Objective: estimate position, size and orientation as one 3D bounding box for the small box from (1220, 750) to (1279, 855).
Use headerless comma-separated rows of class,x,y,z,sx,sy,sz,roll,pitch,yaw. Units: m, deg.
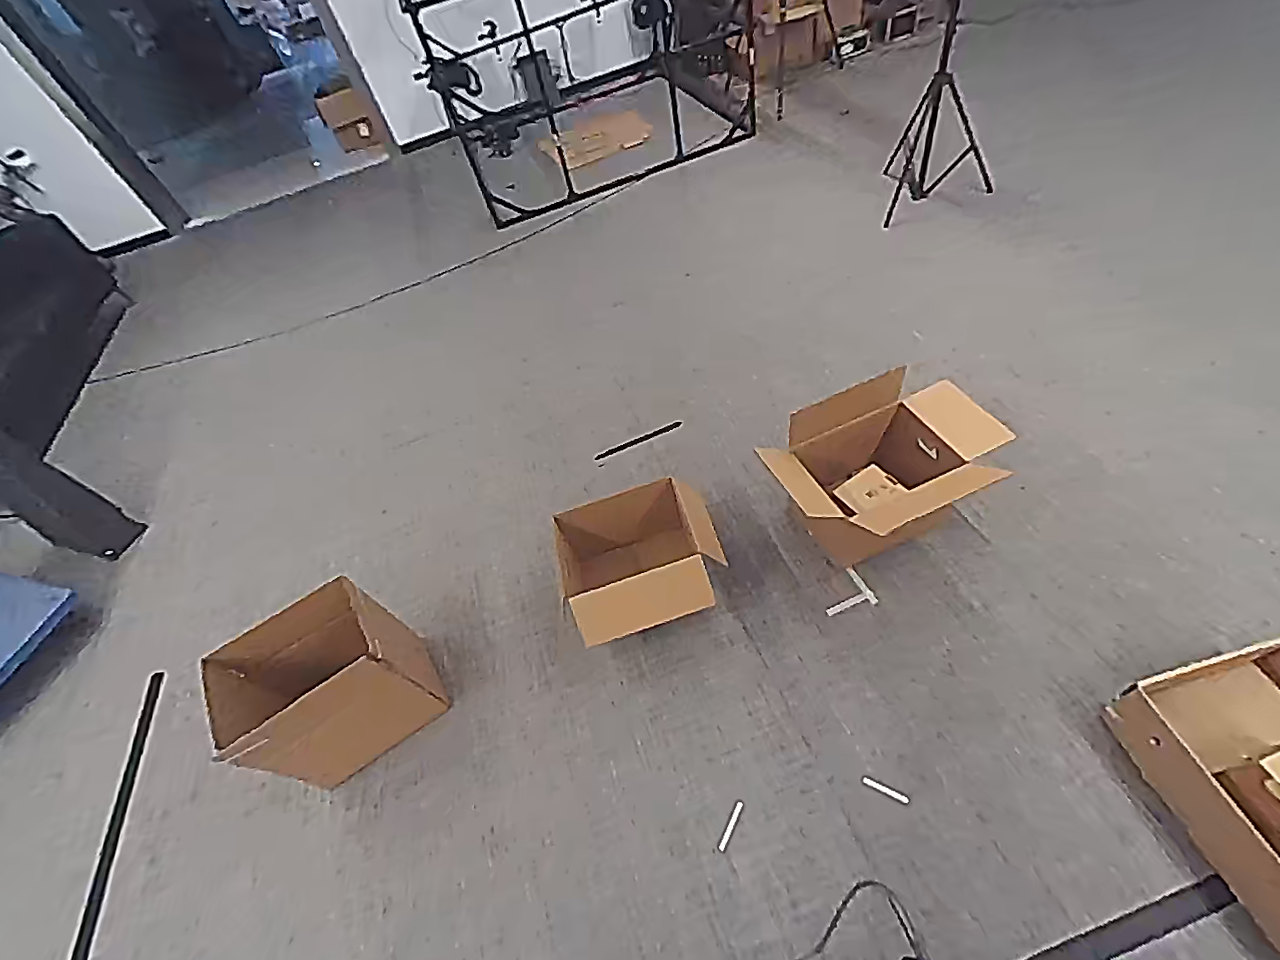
small box,1.353,0.647,1.093,0.179,0.176,0.168,-21,51,-3
